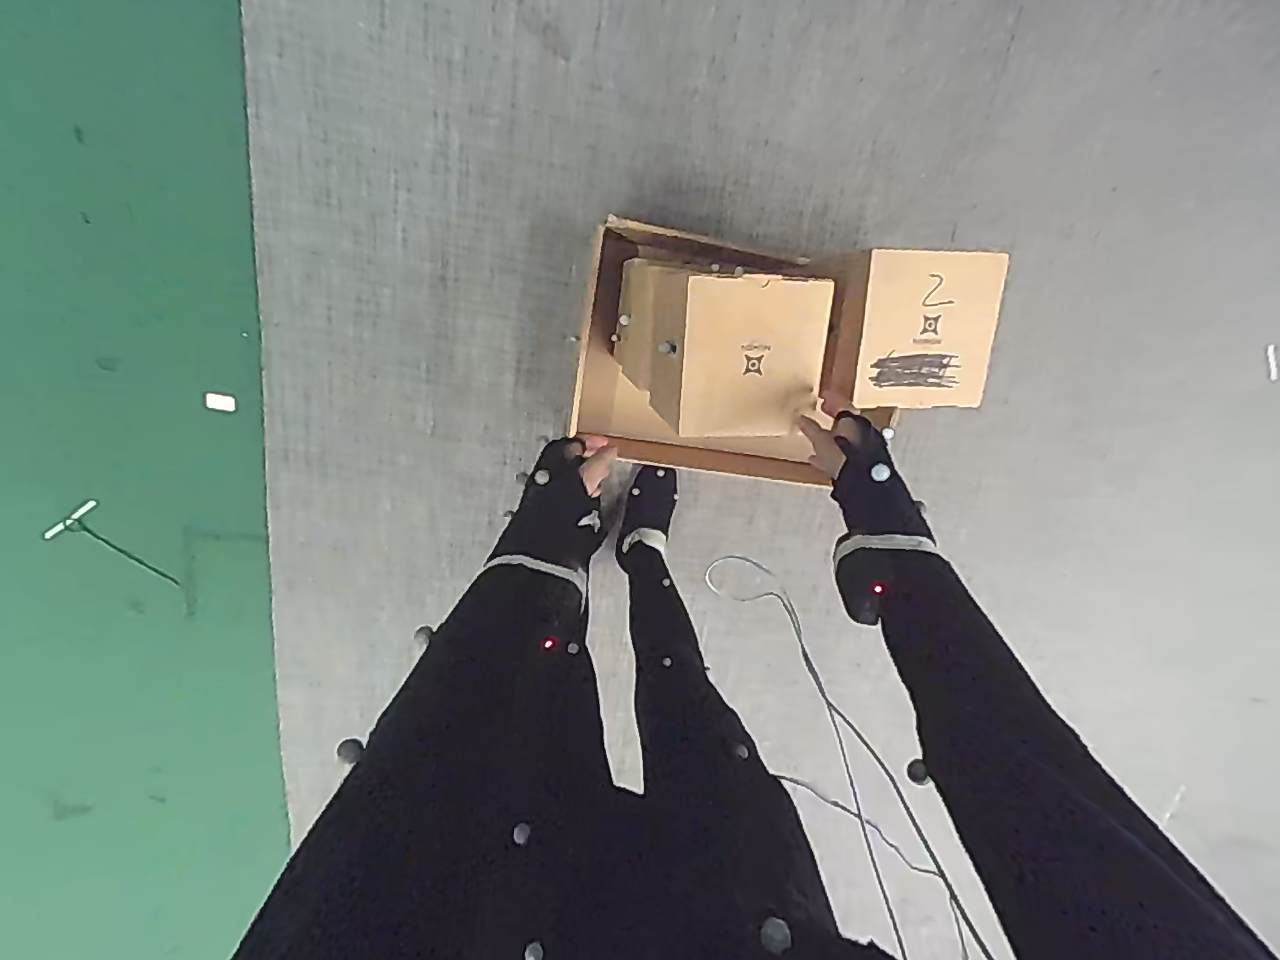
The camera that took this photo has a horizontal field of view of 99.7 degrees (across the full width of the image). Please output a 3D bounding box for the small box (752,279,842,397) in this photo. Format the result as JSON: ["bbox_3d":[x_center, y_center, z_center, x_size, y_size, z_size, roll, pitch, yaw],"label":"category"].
[{"bbox_3d":[0.240,-0.264,1.000,0.168,0.176,0.179,7,108,-9],"label":"small box"}]

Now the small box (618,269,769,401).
[{"bbox_3d":[0.069,-0.221,0.813,0.179,0.176,0.168,2,109,-10],"label":"small box"}]
